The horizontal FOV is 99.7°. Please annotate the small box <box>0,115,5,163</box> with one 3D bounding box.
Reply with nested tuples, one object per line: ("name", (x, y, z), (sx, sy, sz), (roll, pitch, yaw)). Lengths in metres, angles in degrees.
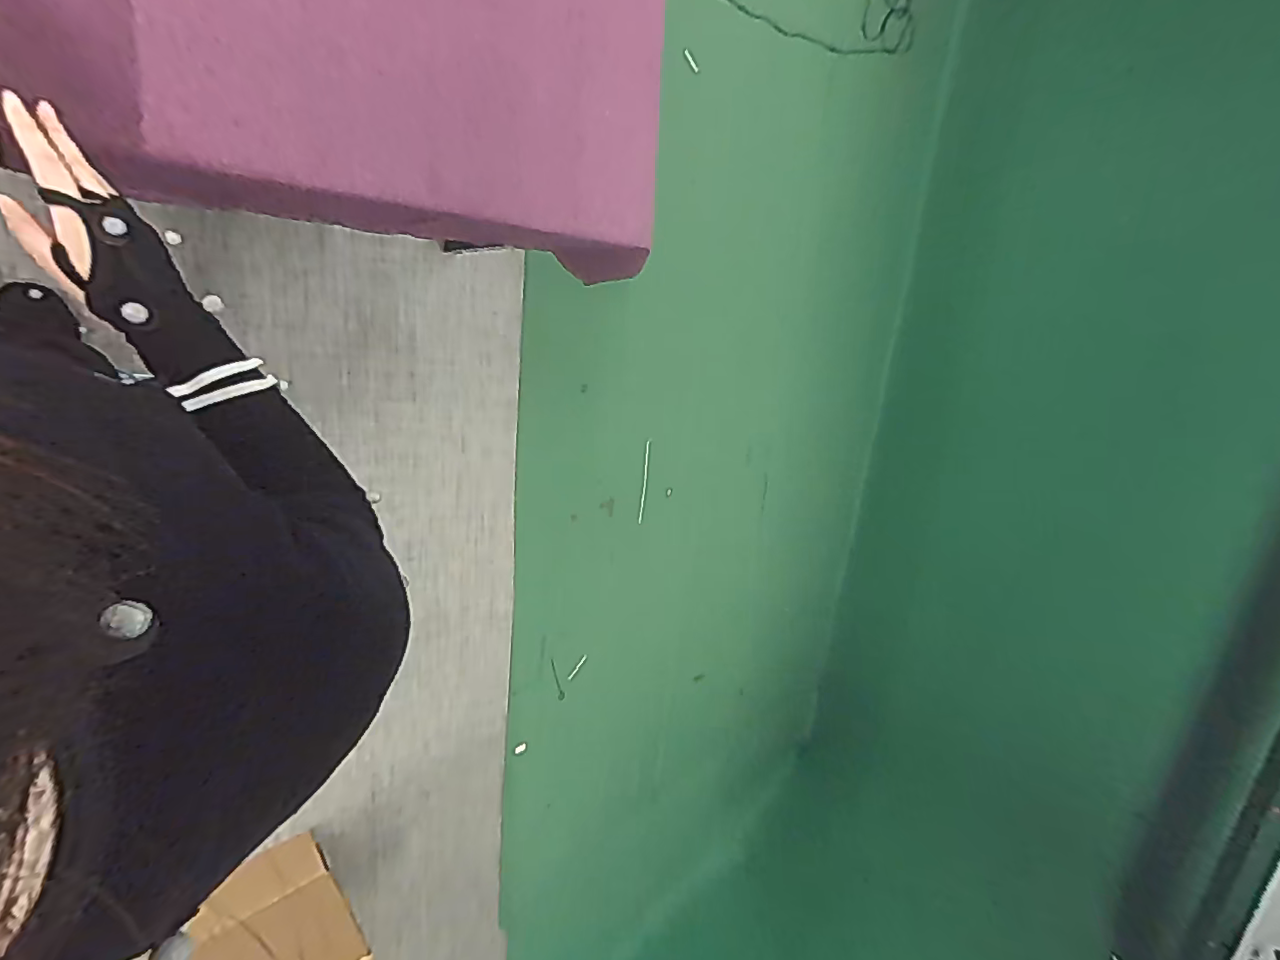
("small box", (-0.555, -0.335, 0.353), (0.168, 0.176, 0.179), (-7, 108, -45))
